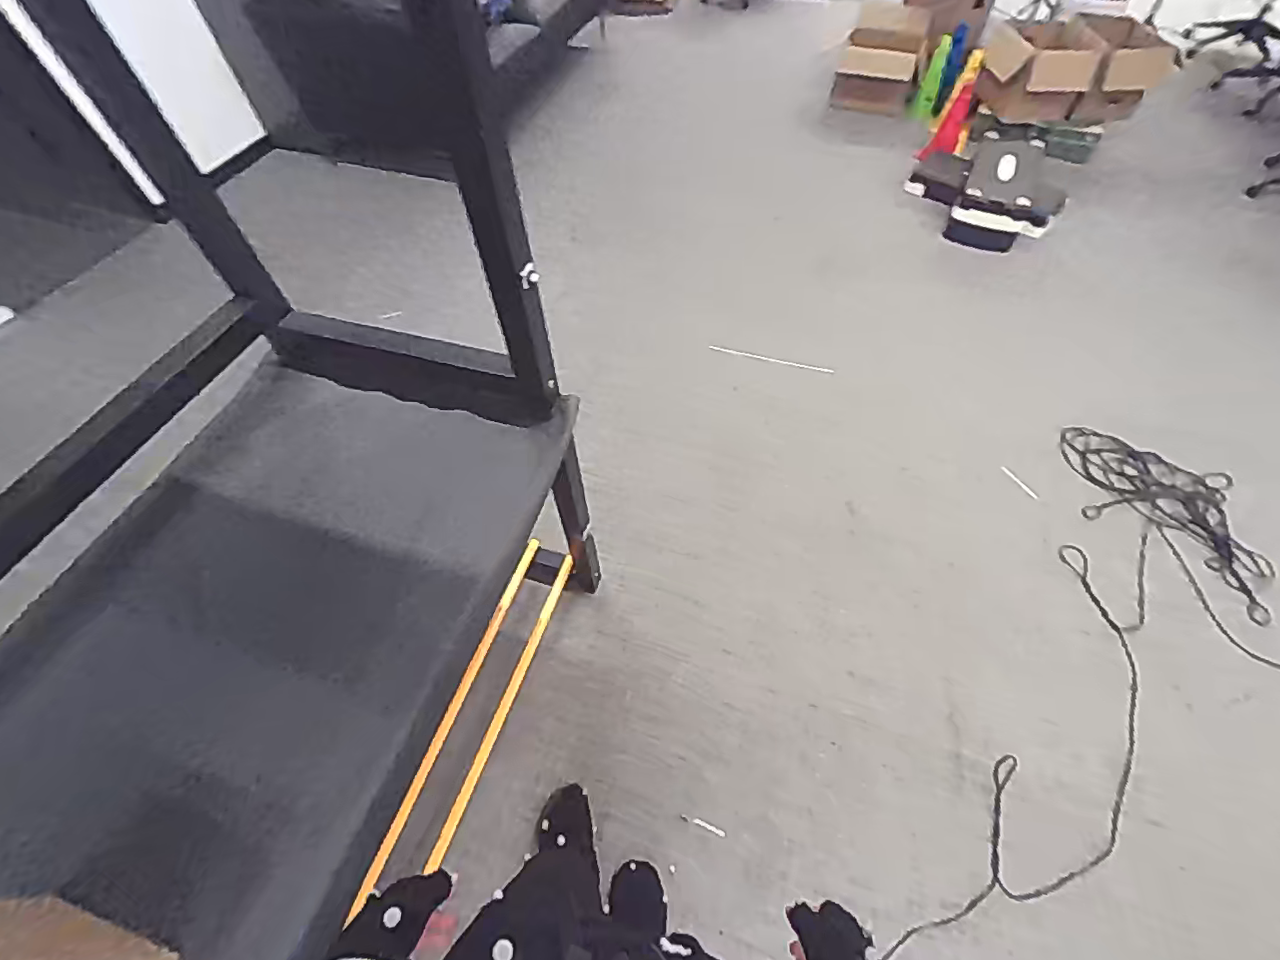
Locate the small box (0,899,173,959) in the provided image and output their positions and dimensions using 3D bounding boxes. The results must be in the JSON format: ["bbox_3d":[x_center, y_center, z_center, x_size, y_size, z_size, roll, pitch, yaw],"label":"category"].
[{"bbox_3d":[-0.577,0.483,0.459,0.179,0.176,0.168,13,57,10],"label":"small box"}]
